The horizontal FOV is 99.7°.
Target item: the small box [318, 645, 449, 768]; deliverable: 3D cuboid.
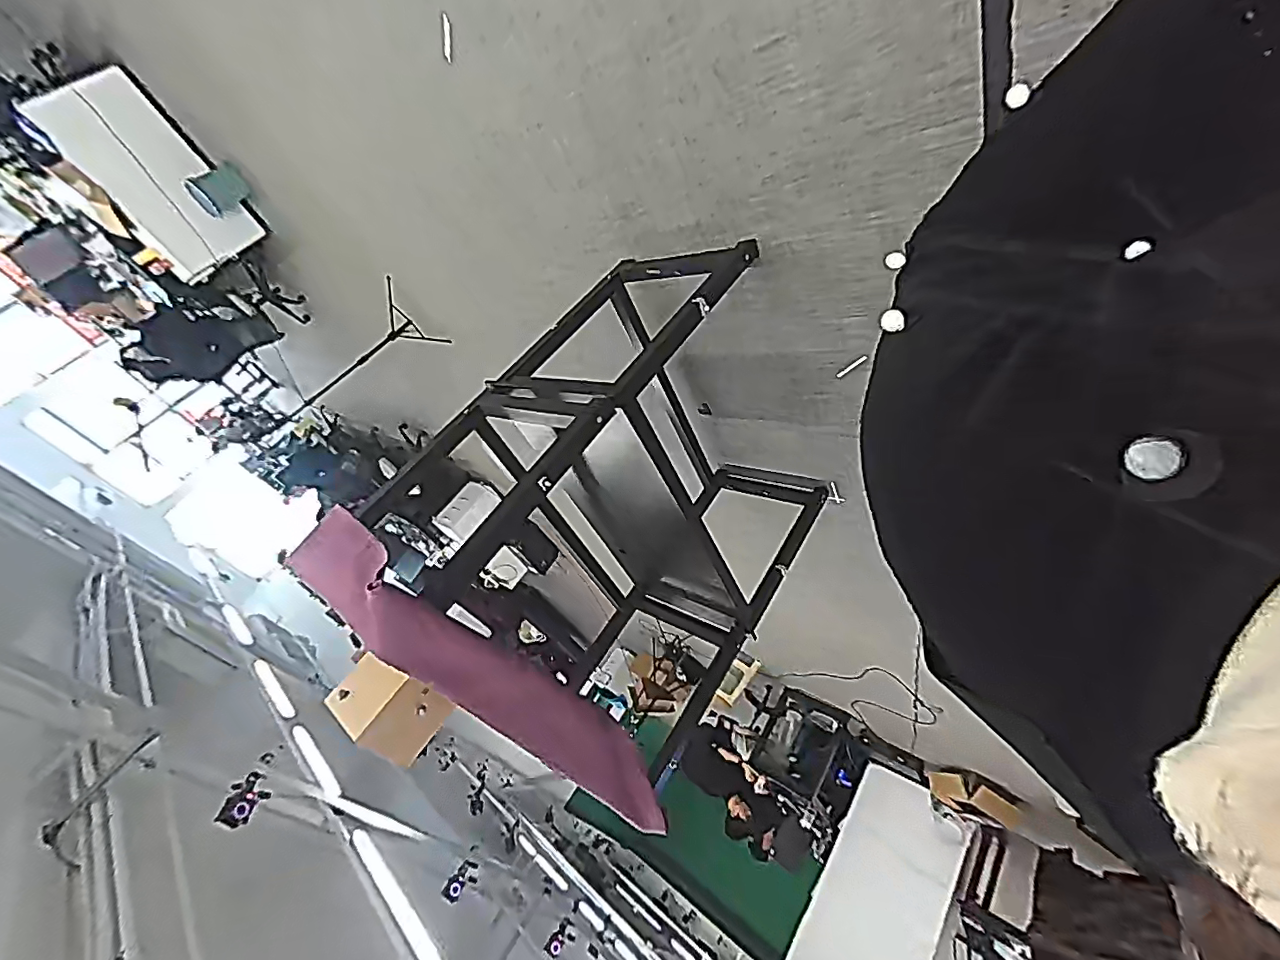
[{"bbox_3d":[-0.564,0.494,1.204,0.179,0.176,0.168,16,149,40],"label":"small box"}]
